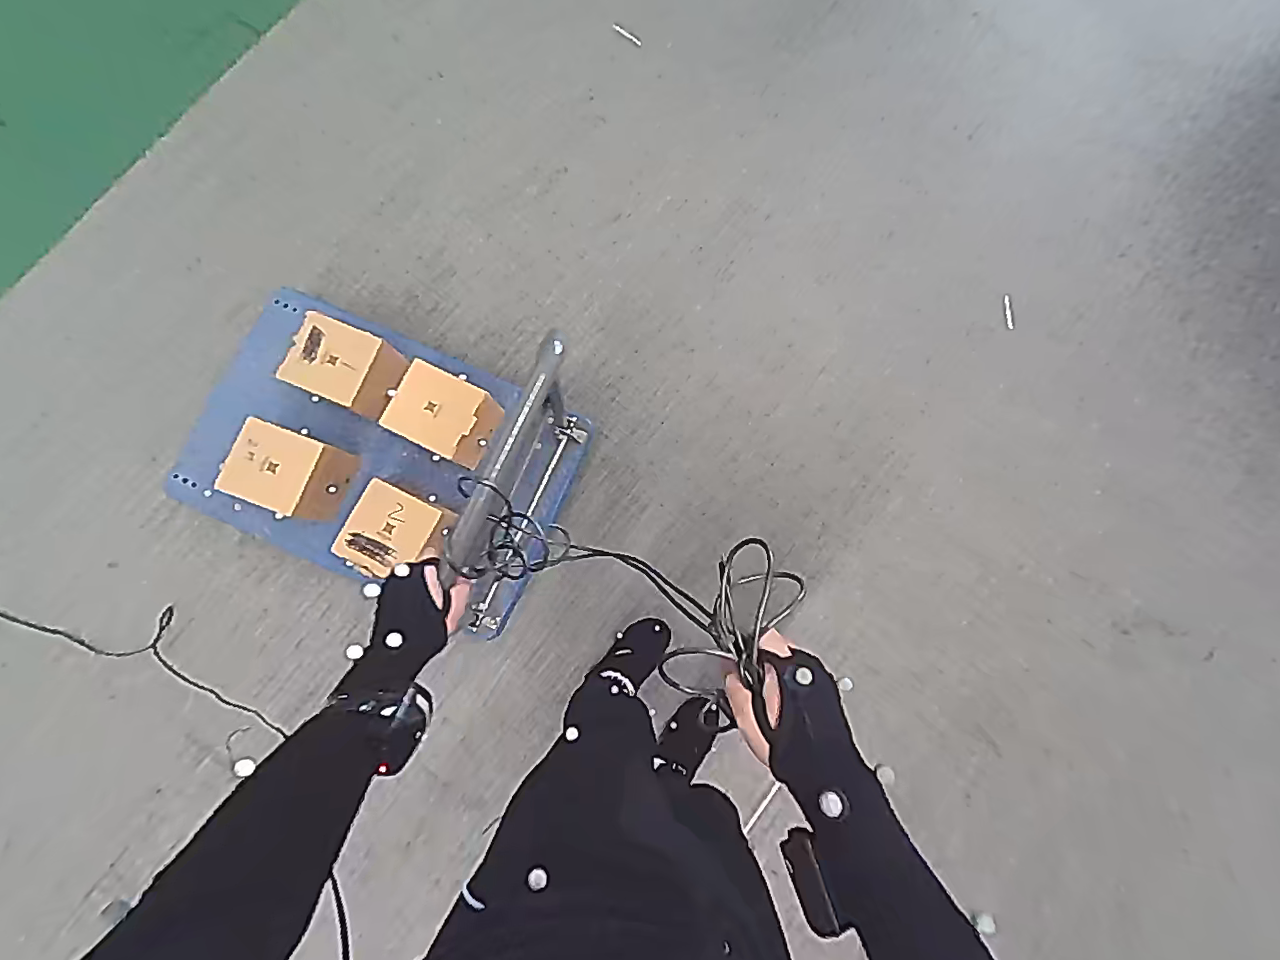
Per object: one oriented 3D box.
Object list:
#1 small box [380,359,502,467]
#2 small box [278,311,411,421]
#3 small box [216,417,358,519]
[{"bbox_3d":[-0.440,-0.141,1.224,0.179,0.176,0.168,26,83,1],"label":"small box"},{"bbox_3d":[-0.661,-0.248,1.231,0.179,0.176,0.168,23,83,1],"label":"small box"},{"bbox_3d":[-0.766,-0.017,1.198,0.179,0.176,0.168,21,82,1],"label":"small box"}]
